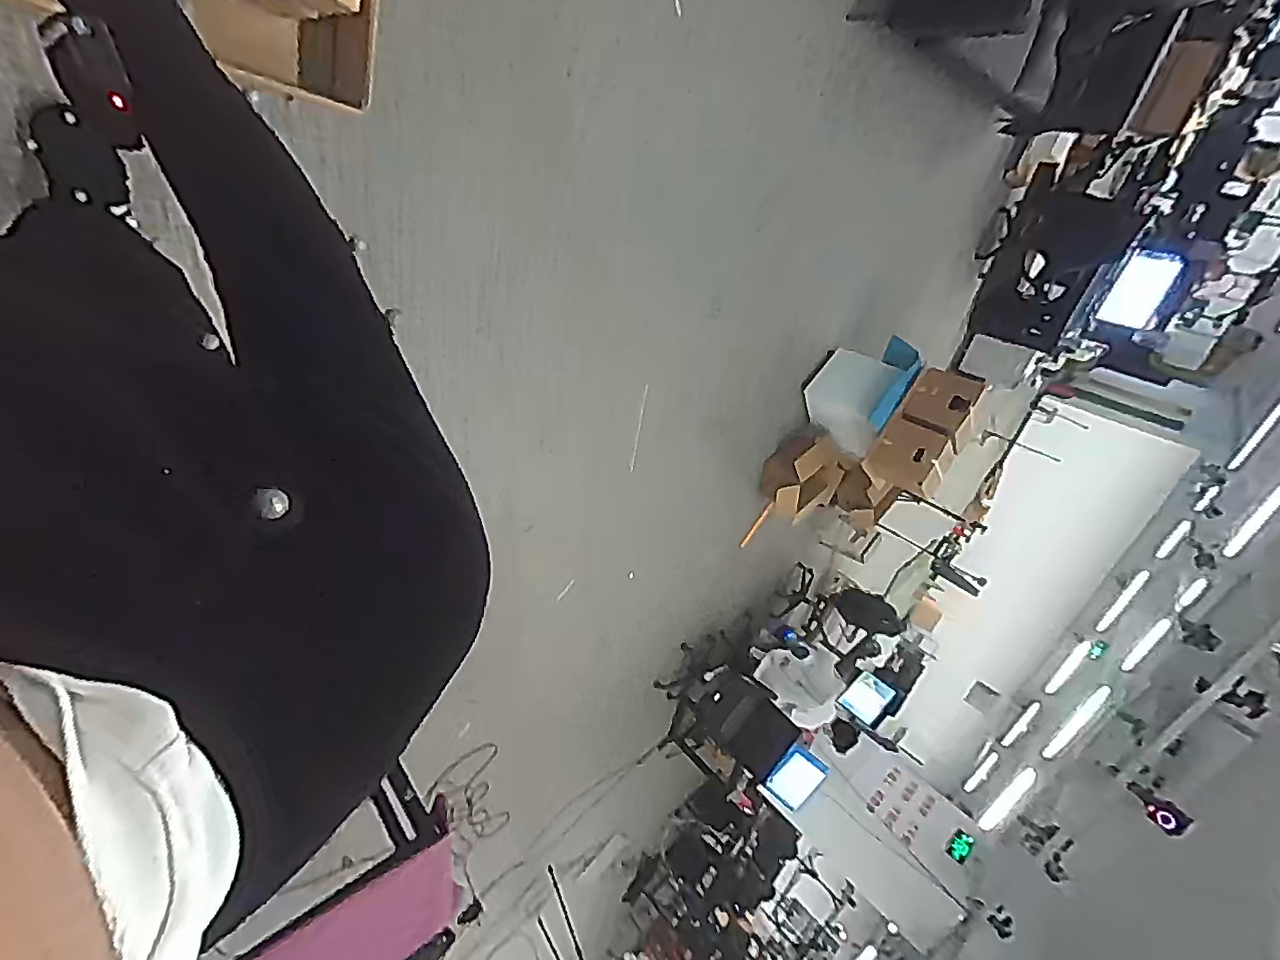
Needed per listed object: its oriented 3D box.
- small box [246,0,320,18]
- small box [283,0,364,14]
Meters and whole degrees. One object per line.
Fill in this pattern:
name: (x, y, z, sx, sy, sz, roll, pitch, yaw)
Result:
small box: (-0.519, -0.745, 0.698, 0.168, 0.176, 0.179, -4, 121, -47)
small box: (-0.413, -0.666, 0.601, 0.168, 0.176, 0.179, -5, 122, -47)
